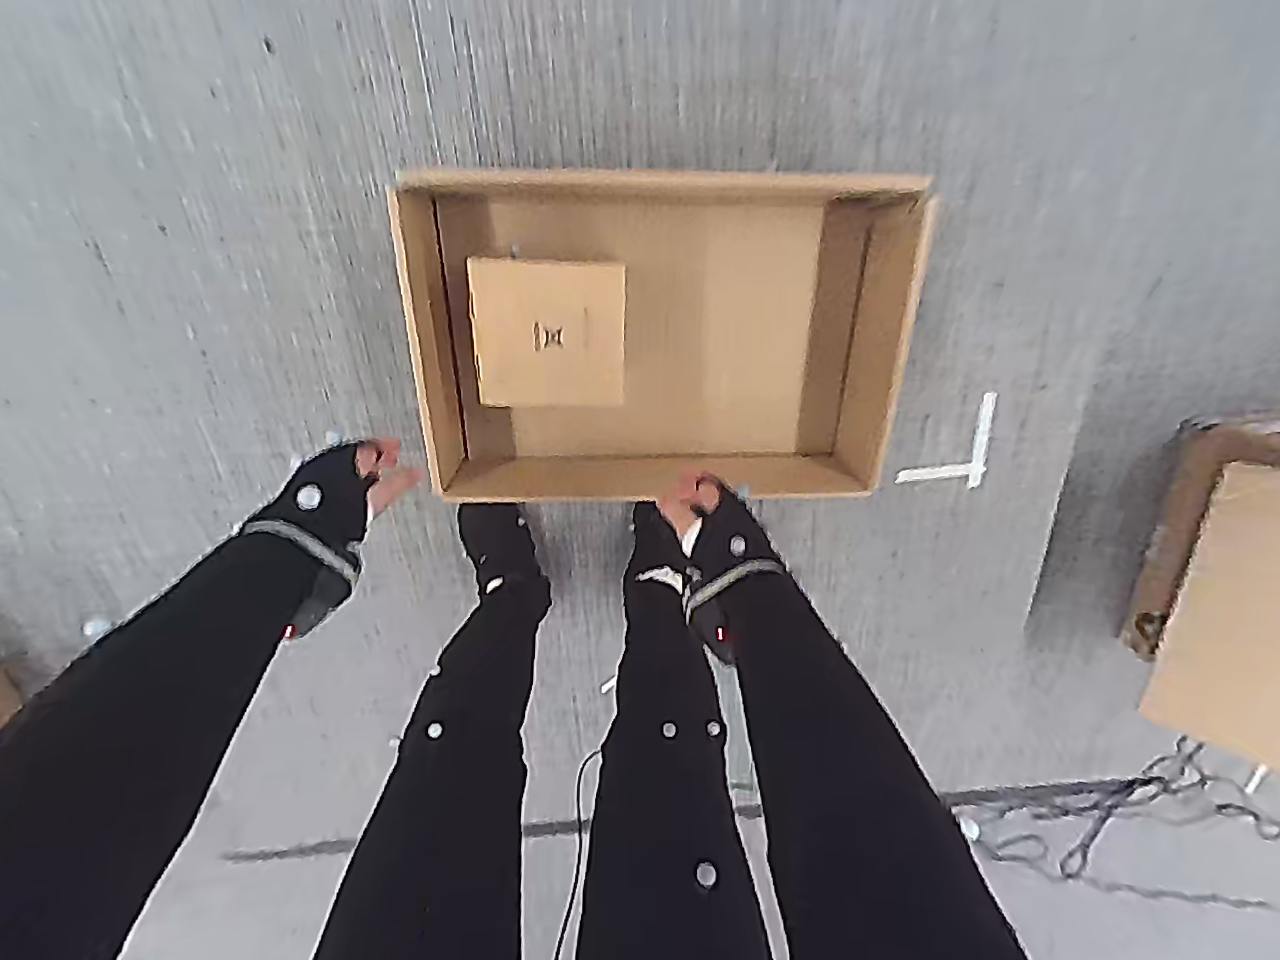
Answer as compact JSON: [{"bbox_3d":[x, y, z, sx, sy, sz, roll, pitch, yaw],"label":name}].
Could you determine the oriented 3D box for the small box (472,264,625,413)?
[{"bbox_3d":[-0.112,-0.192,0.717,0.179,0.176,0.168,-1,115,-5],"label":"small box"}]
